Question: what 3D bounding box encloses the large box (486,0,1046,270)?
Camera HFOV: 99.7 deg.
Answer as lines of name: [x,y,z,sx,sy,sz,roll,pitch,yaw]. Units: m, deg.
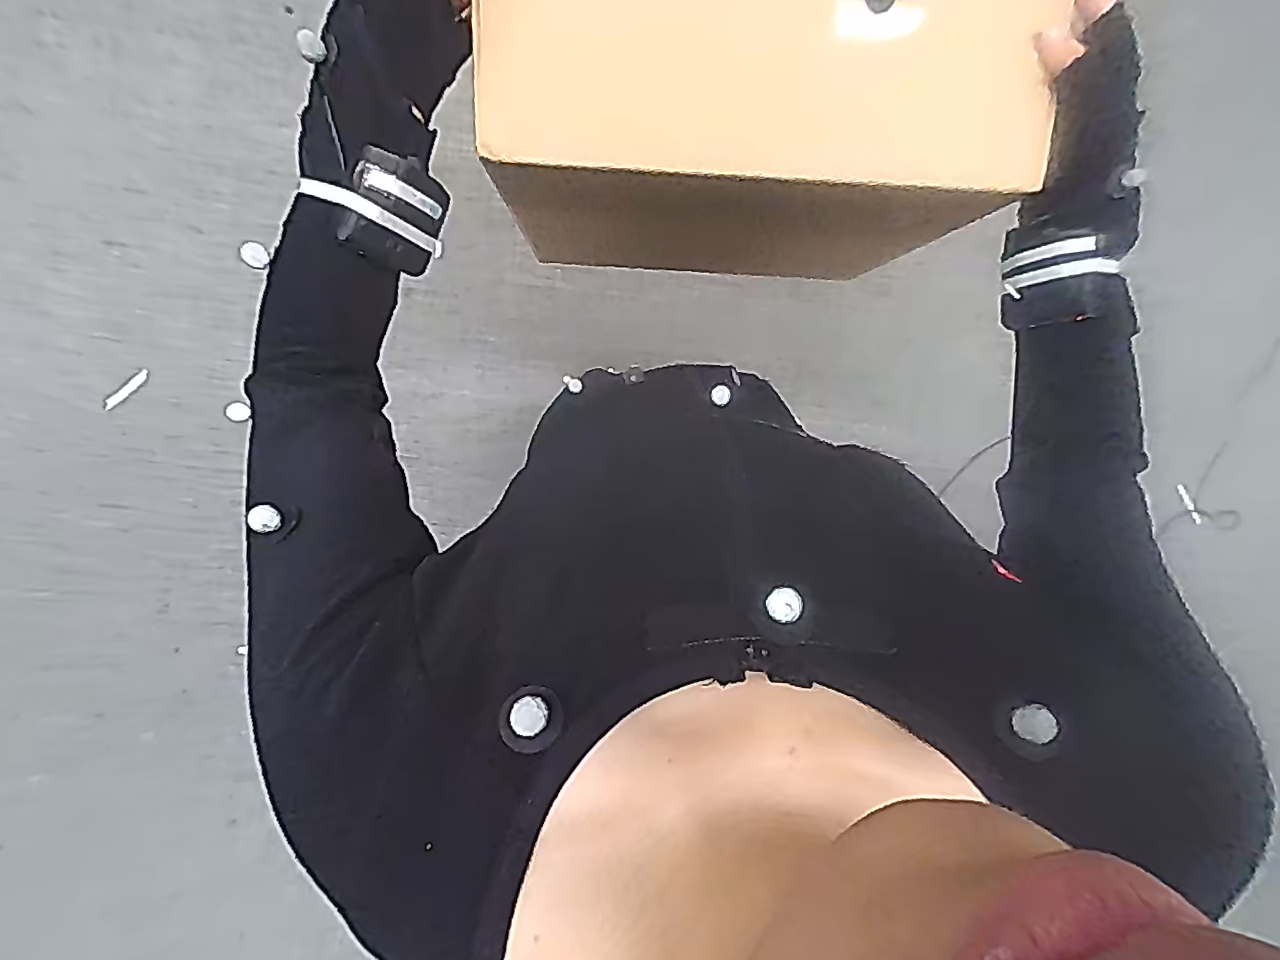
large box: [0.083,-0.400,0.518,0.408,0.320,0.320,1,100,-4]
